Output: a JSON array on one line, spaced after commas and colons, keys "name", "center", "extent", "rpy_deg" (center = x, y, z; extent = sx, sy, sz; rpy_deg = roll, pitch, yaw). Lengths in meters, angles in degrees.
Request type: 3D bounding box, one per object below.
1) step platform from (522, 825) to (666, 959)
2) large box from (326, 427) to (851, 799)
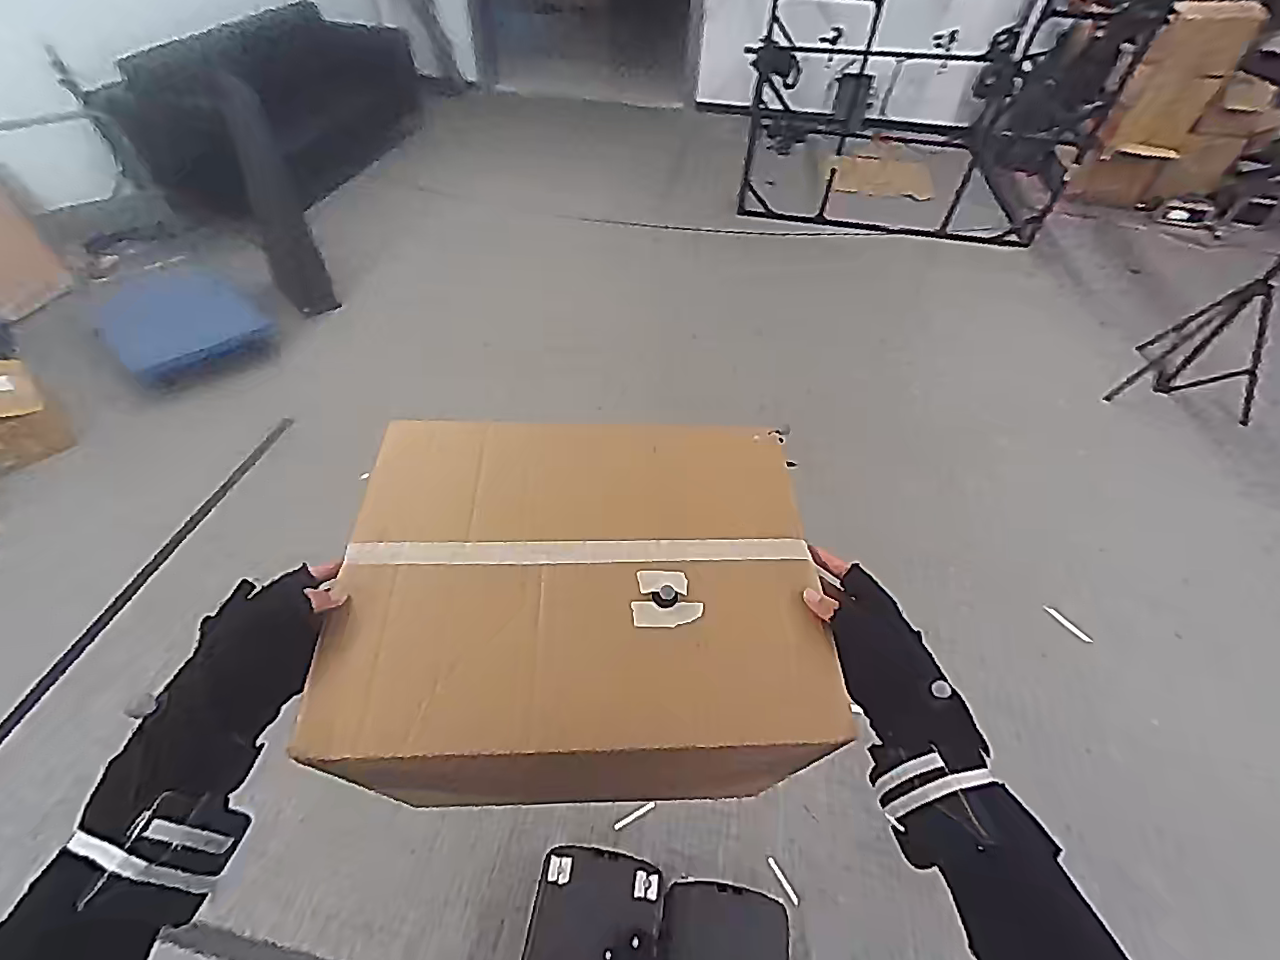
[{"name": "step platform", "center": [-0.123, 1.116, 1.112], "extent": [0.286, 0.204, 0.684], "rpy_deg": [8, 48, 4]}, {"name": "large box", "center": [-0.049, 0.156, 0.610], "extent": [0.408, 0.320, 0.320], "rpy_deg": [1, 54, -5]}]
